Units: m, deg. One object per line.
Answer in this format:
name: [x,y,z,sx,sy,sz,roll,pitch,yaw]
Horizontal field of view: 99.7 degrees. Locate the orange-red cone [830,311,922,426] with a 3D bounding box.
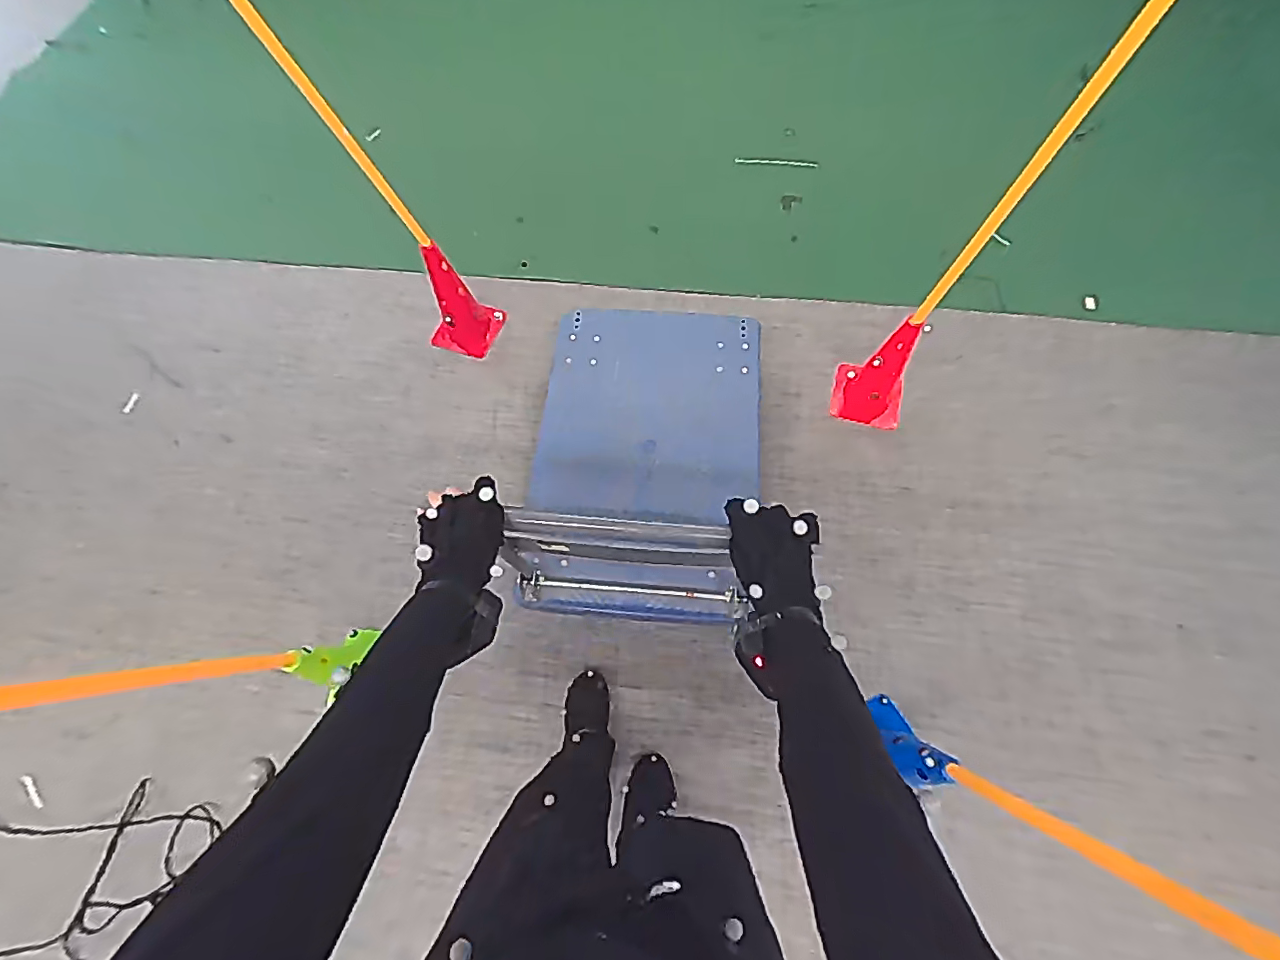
orange-red cone: [0.679,-0.327,1.476,0.198,0.360,0.199,16,70,10]
